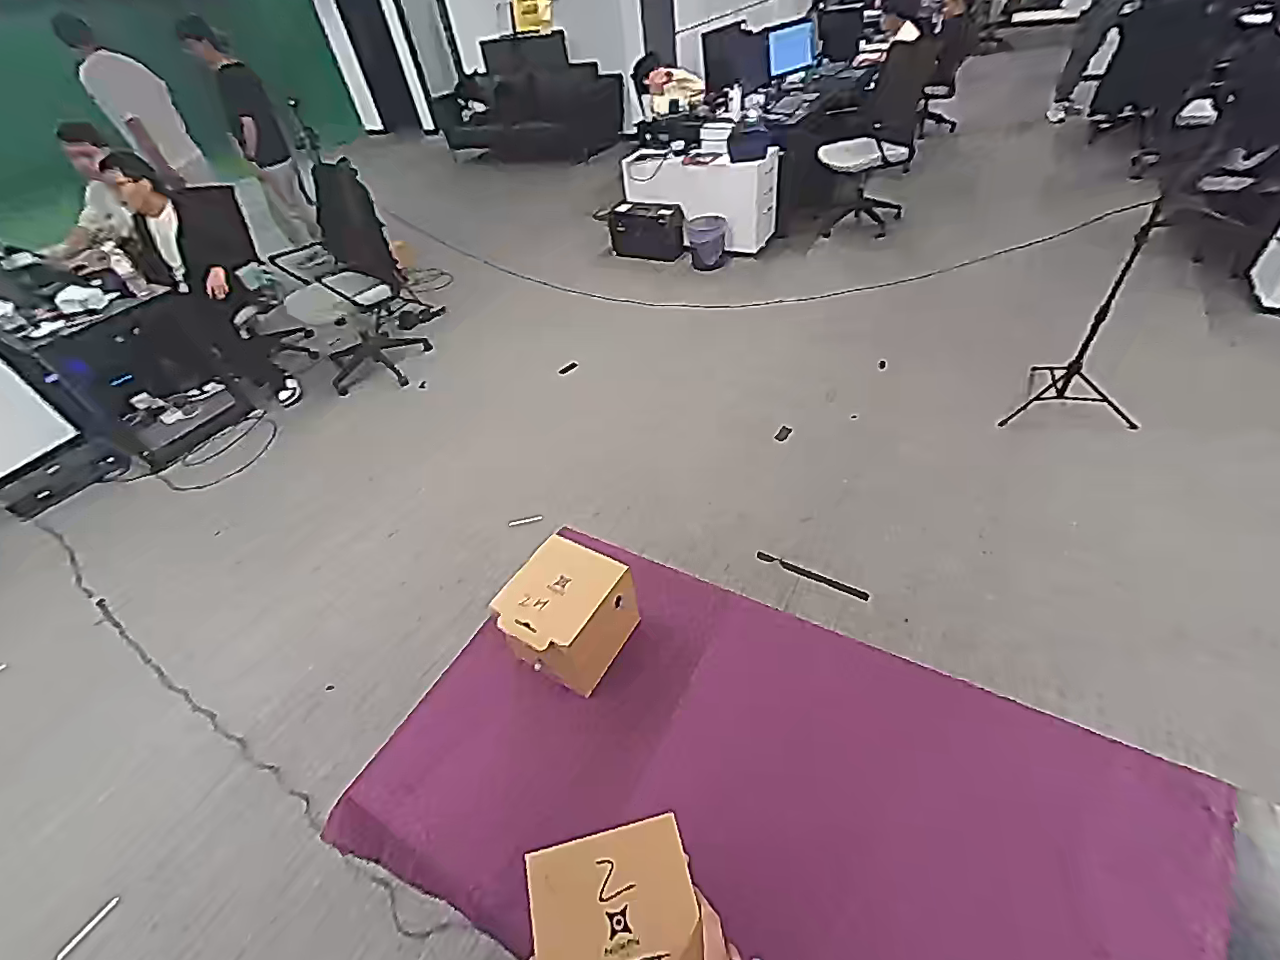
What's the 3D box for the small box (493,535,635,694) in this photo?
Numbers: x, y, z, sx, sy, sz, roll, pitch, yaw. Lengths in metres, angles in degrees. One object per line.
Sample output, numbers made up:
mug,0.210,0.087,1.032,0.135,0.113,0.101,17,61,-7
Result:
small box,-0.121,0.234,0.945,0.168,0.176,0.179,20,51,27
